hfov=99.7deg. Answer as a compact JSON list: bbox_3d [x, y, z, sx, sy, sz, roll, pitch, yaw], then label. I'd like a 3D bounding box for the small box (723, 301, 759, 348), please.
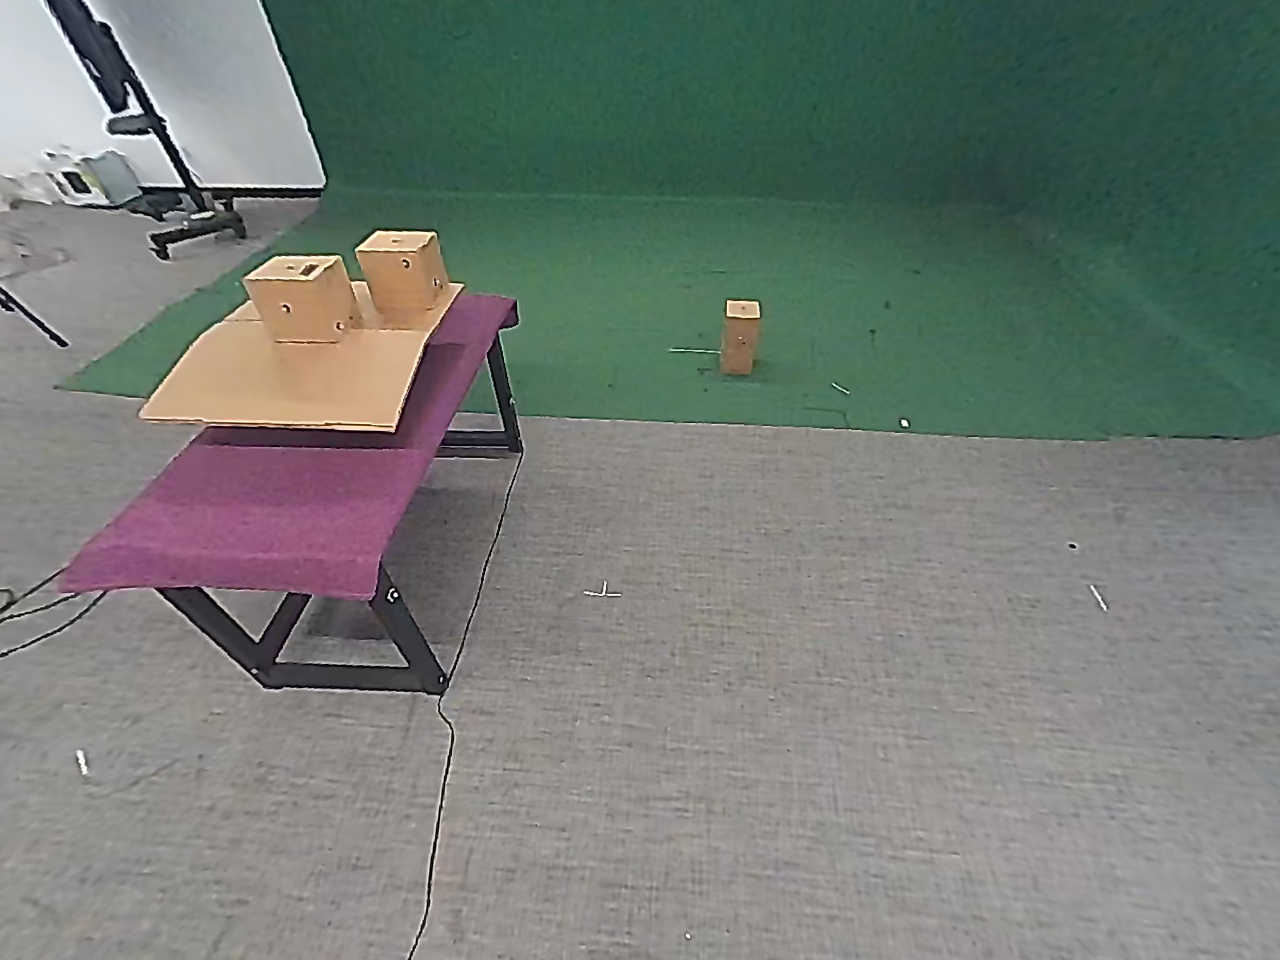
[{"bbox_3d":[0.518,-0.802,2.790,0.168,0.176,0.179,5,45,5],"label":"small box"}]

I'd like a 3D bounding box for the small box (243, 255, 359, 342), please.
[{"bbox_3d":[-0.876,-0.474,1.420,0.179,0.176,0.168,0,41,1],"label":"small box"}]

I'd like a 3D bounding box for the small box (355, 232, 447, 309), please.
[{"bbox_3d":[-0.686,-0.610,1.576,0.179,0.176,0.168,2,42,0],"label":"small box"}]
